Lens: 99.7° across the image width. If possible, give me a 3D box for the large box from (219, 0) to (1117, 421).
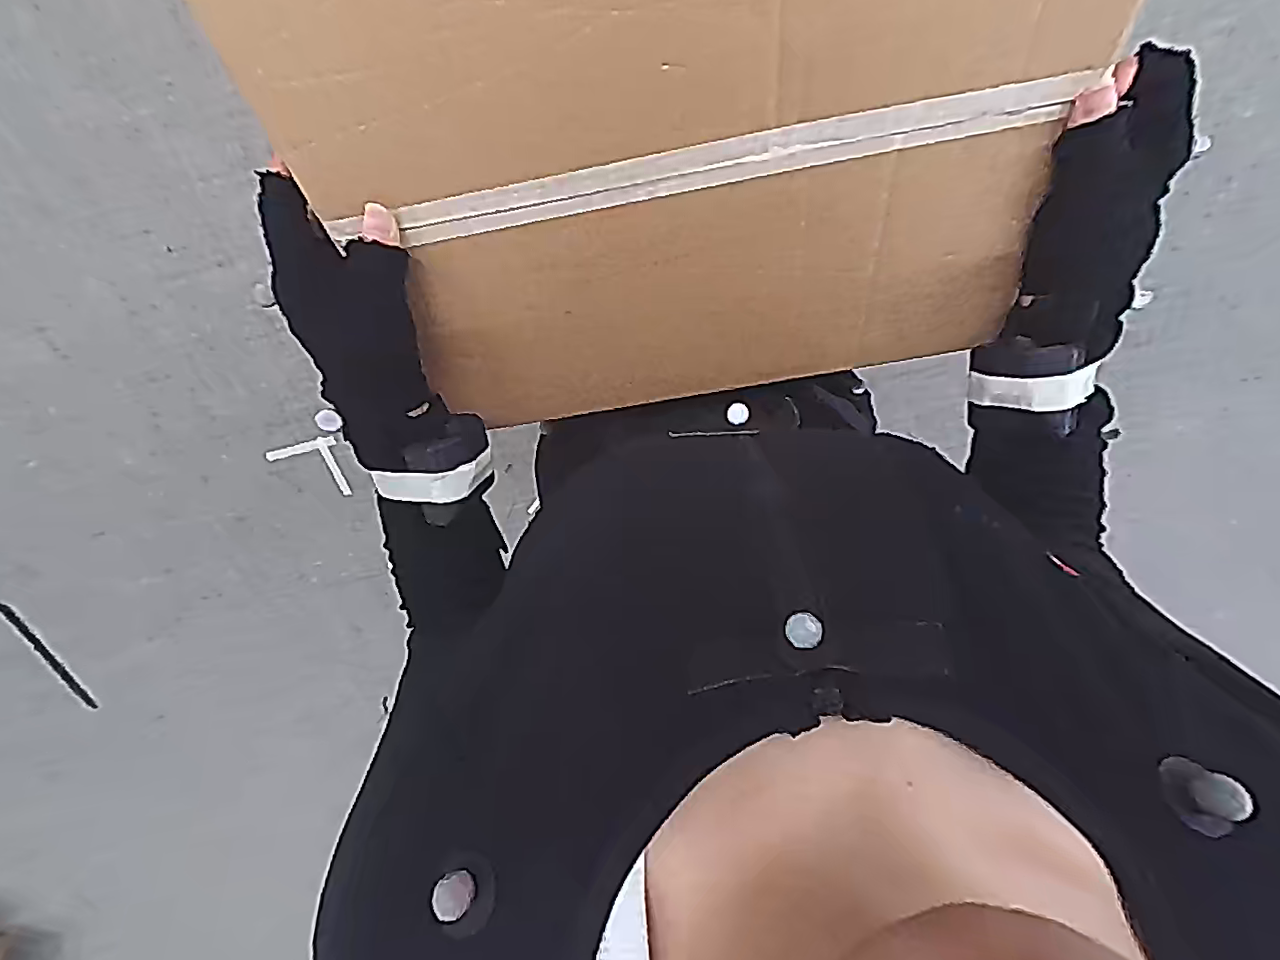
[{"bbox_3d":[0.017,-0.286,0.387,0.408,0.320,0.320,-9,141,3],"label":"large box"}]
